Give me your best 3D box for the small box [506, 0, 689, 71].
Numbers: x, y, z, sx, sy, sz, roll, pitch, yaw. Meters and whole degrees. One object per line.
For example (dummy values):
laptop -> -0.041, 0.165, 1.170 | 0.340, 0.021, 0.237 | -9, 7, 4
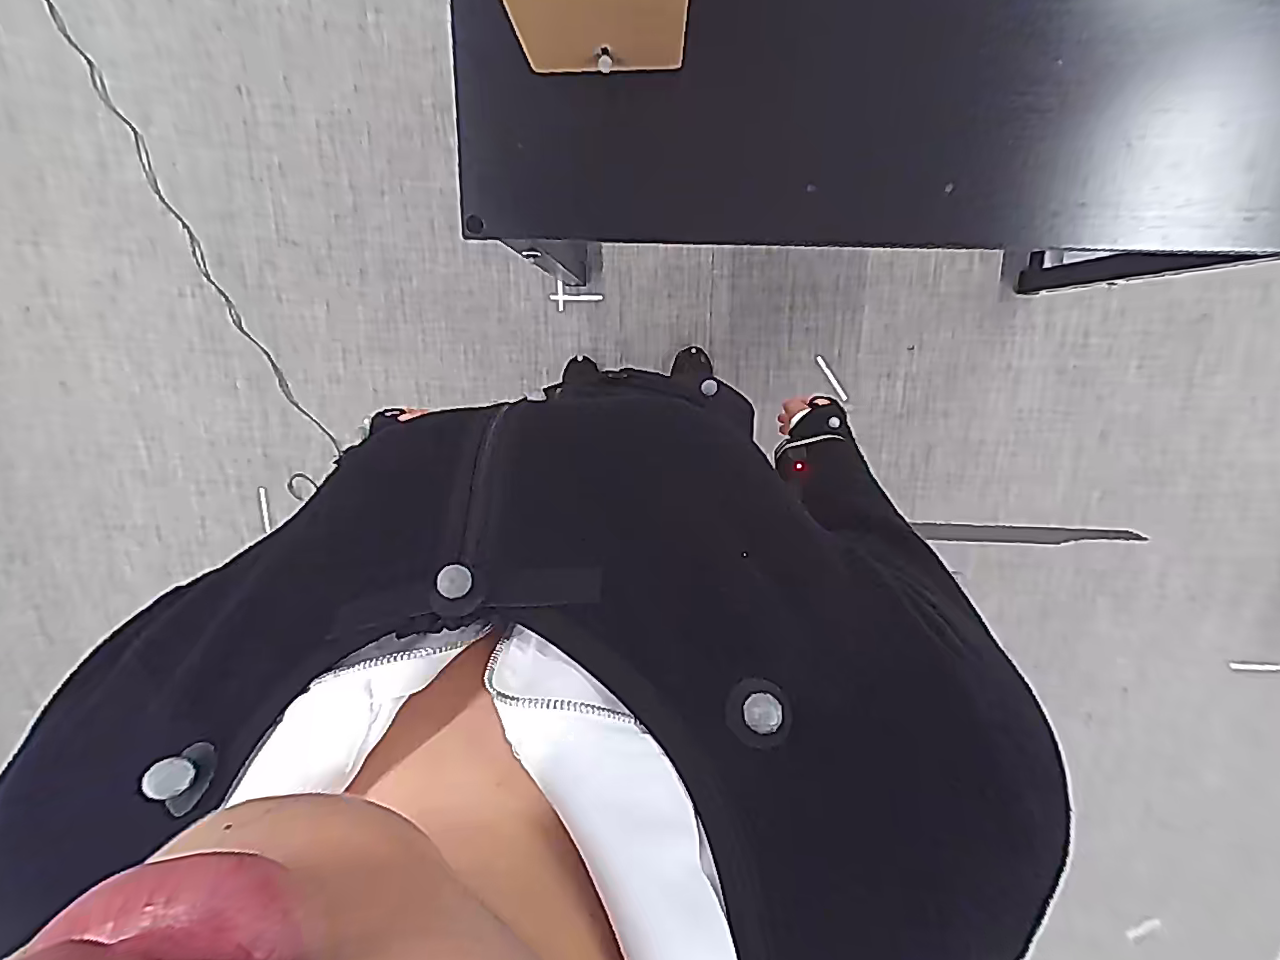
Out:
small box -> -0.041, -0.541, 0.539 | 0.179, 0.176, 0.168 | -1, 103, 0
